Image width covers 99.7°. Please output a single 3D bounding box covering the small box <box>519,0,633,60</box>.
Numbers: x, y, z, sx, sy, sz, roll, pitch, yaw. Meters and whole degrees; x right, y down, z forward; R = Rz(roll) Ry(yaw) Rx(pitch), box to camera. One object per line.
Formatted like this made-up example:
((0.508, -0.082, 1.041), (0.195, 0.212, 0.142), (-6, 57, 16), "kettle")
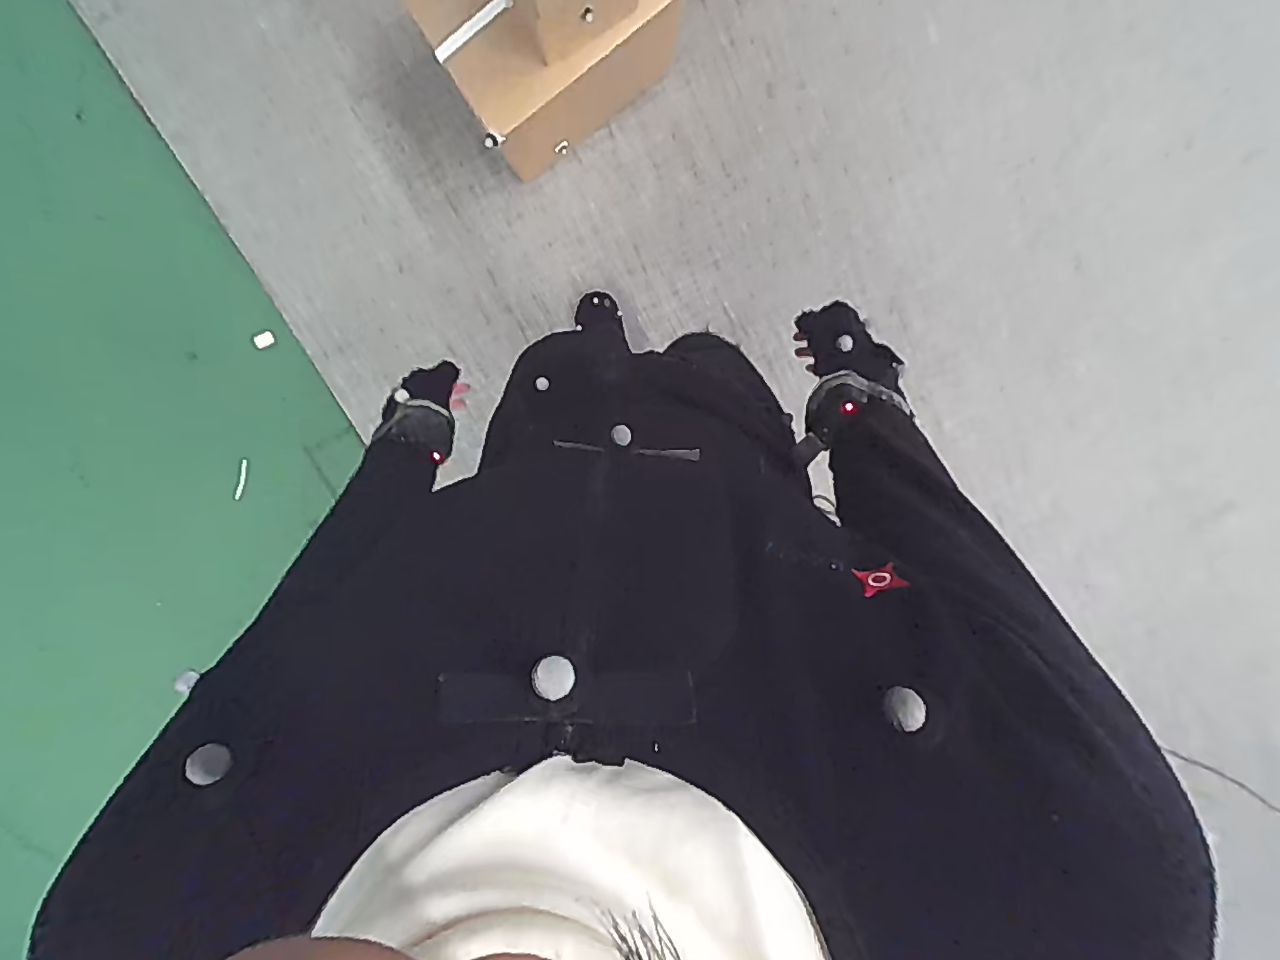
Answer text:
((-0.112, -0.788, 0.807), (0.179, 0.176, 0.168), (-29, 106, 8), "small box")
